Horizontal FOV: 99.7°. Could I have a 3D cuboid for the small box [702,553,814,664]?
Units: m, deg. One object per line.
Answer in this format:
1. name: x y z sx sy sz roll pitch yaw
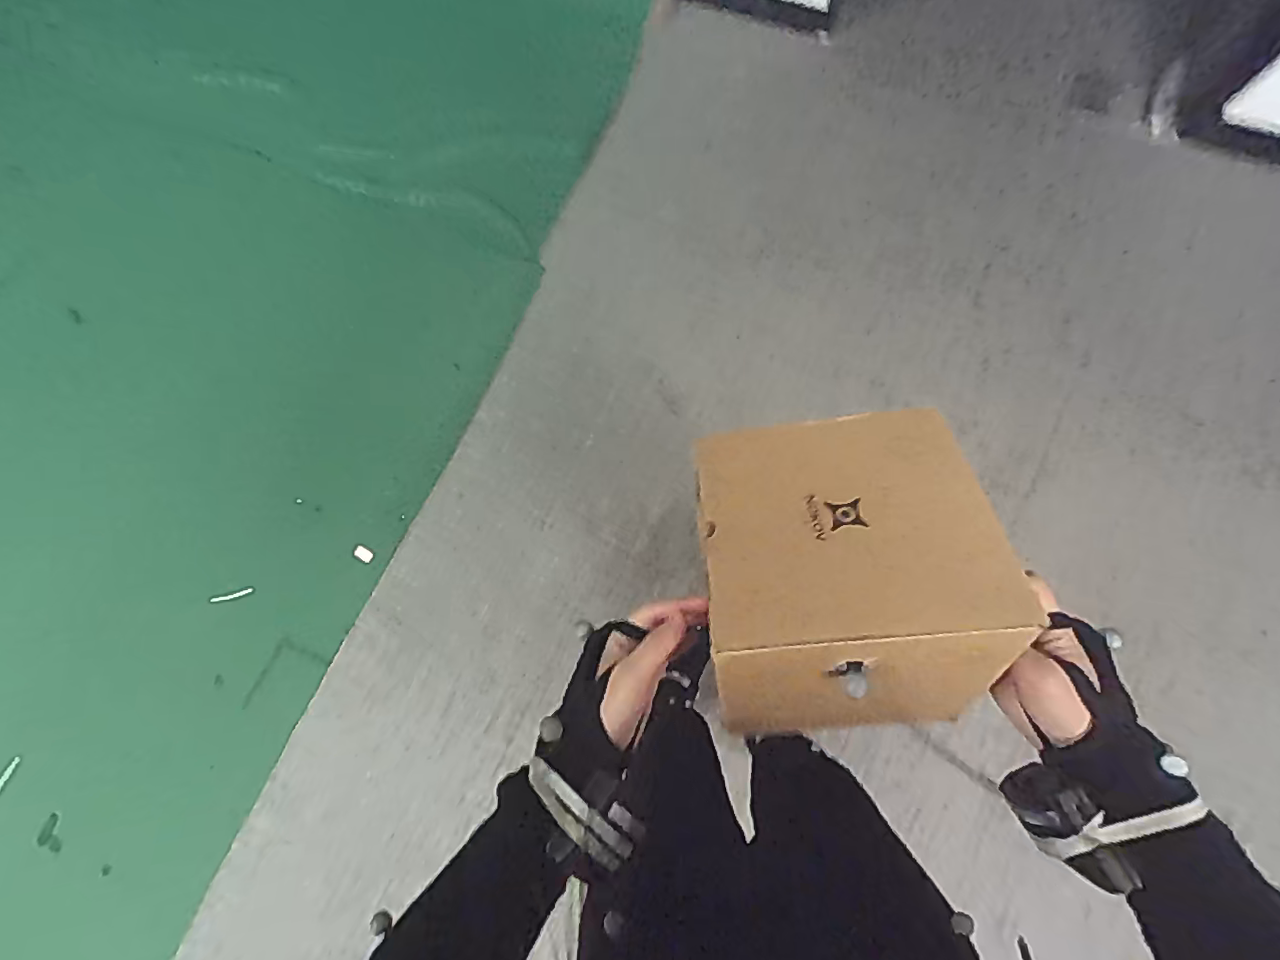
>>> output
1. small box: 0.254 0.279 1.203 0.179 0.176 0.168 31 83 11
